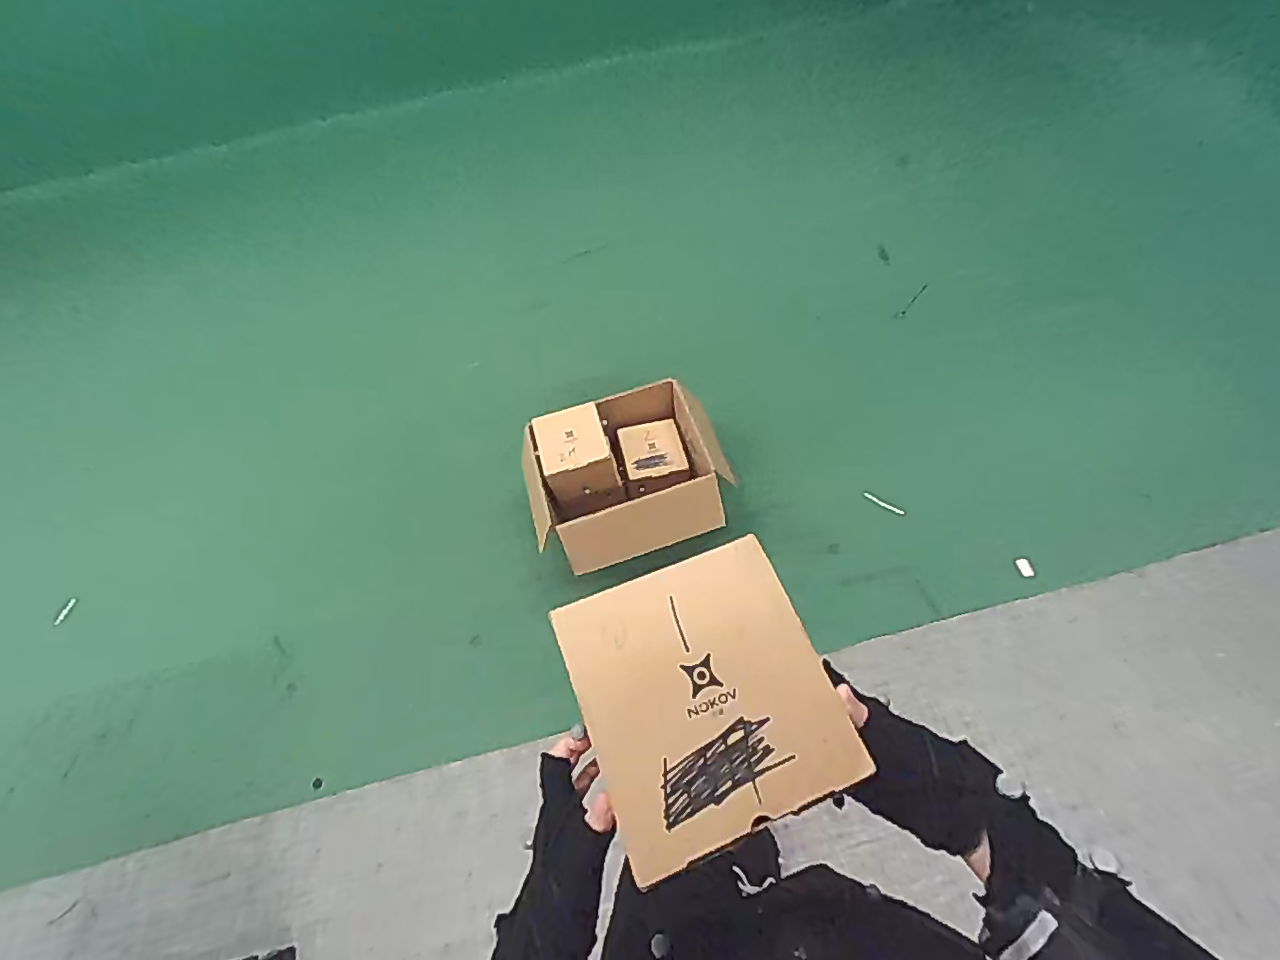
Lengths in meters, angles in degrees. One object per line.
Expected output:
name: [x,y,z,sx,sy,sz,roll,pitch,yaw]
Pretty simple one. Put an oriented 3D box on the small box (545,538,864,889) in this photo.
small box: [0.037,0.175,0.433,0.168,0.176,0.179,-19,67,-11]
